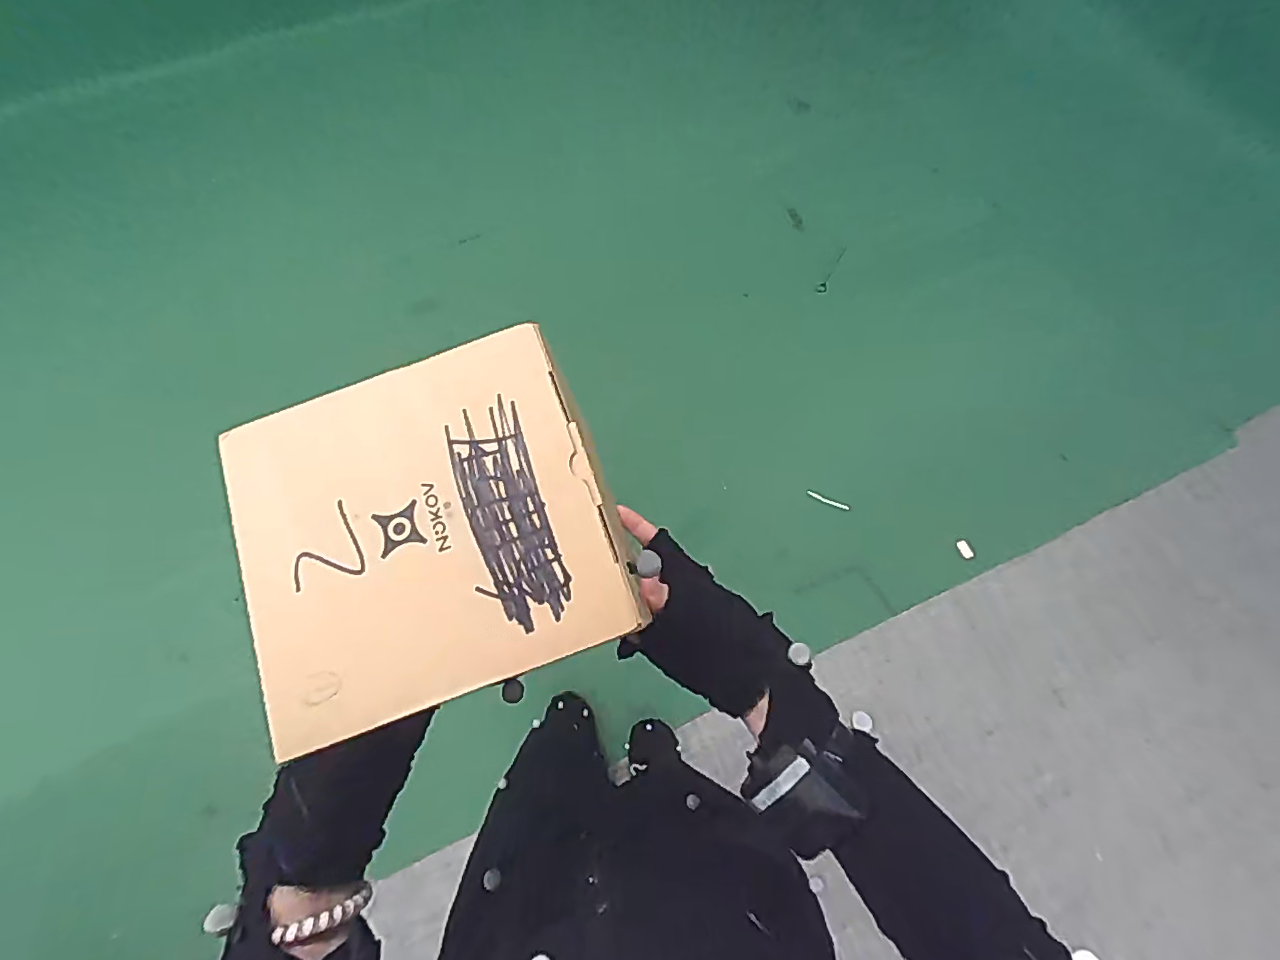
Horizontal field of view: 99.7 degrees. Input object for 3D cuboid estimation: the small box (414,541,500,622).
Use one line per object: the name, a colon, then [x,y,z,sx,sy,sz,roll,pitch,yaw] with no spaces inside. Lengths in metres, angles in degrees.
small box: [-0.463,0.246,1.352,0.168,0.176,0.179,-18,68,-6]

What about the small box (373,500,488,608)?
small box: [-0.461,0.171,1.205,0.179,0.176,0.168,-19,68,-7]
